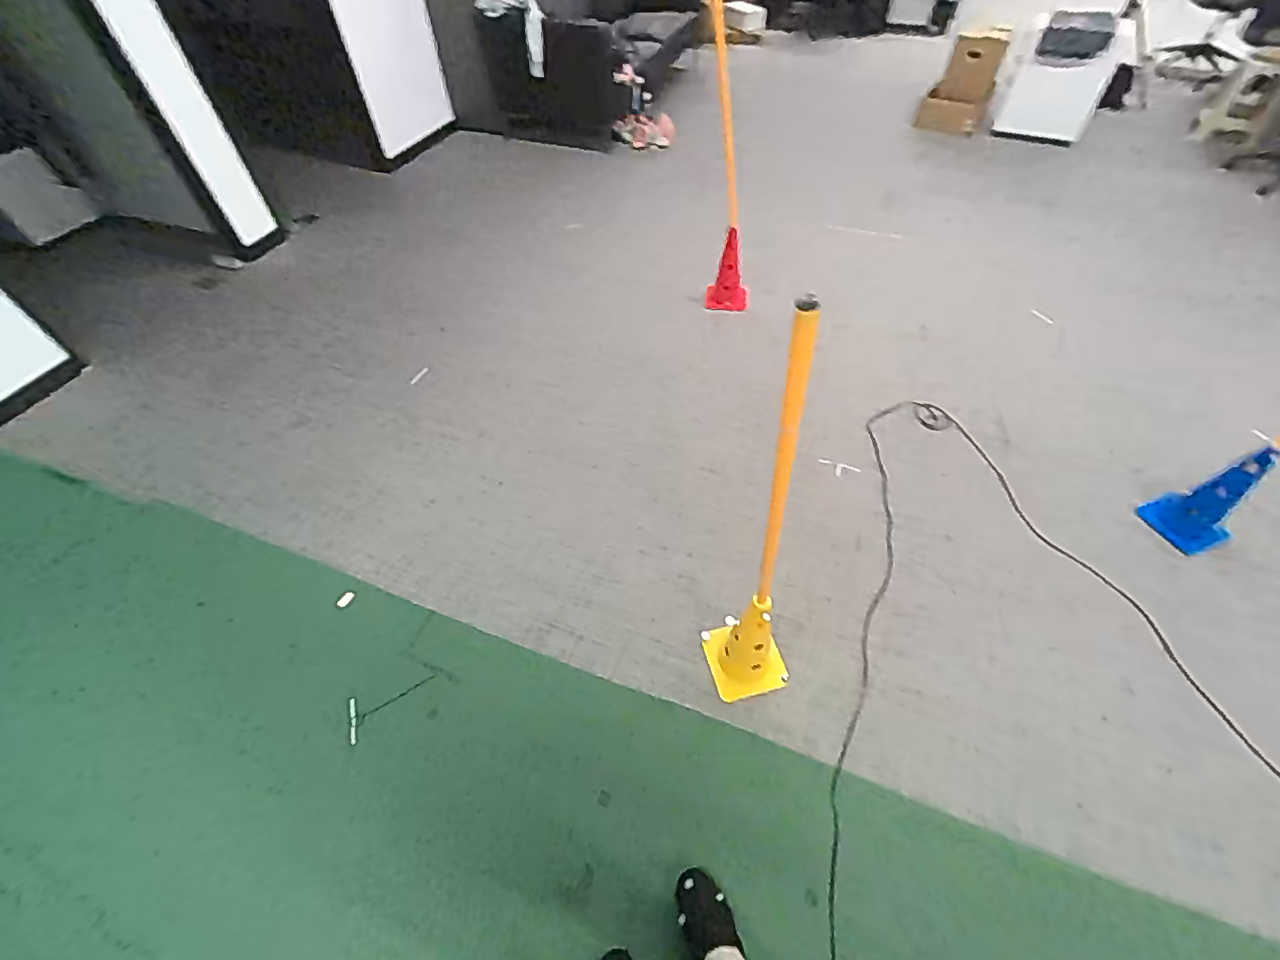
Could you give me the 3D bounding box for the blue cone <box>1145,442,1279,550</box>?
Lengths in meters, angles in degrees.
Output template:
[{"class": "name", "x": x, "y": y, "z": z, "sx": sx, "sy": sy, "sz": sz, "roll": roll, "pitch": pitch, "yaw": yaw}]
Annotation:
[{"class": "blue cone", "x": 1.739, "y": 0.018, "z": 1.596, "sx": 0.193, "sy": 0.380, "sz": 0.192, "roll": -18, "pitch": 52, "yaw": -14}]
